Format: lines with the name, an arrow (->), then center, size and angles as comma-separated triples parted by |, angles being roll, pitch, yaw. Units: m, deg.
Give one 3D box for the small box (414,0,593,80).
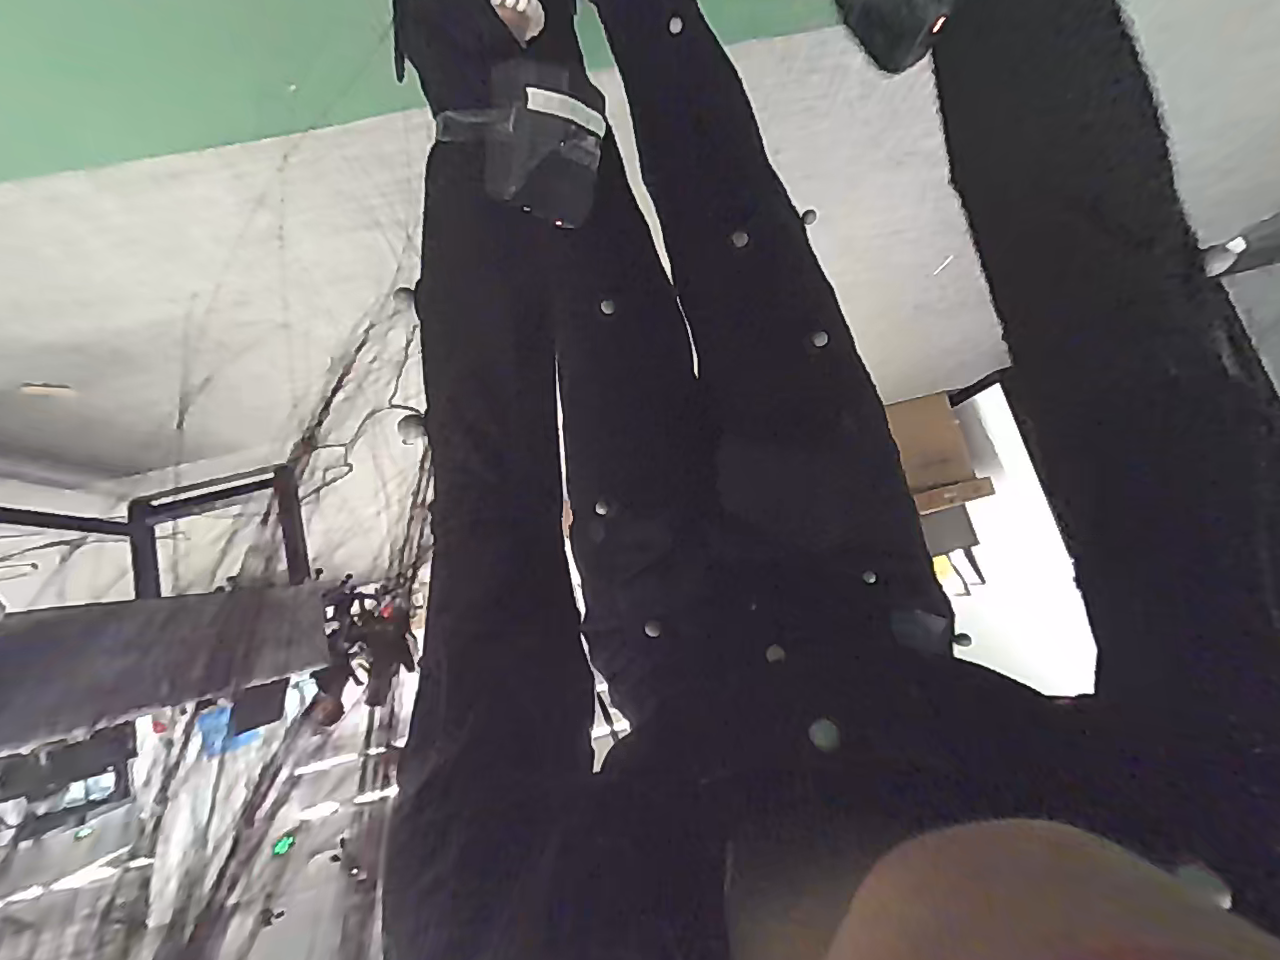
small box -> -0.129, -0.558, 0.529 | 0.179, 0.176, 0.168 | 14, 166, -31
